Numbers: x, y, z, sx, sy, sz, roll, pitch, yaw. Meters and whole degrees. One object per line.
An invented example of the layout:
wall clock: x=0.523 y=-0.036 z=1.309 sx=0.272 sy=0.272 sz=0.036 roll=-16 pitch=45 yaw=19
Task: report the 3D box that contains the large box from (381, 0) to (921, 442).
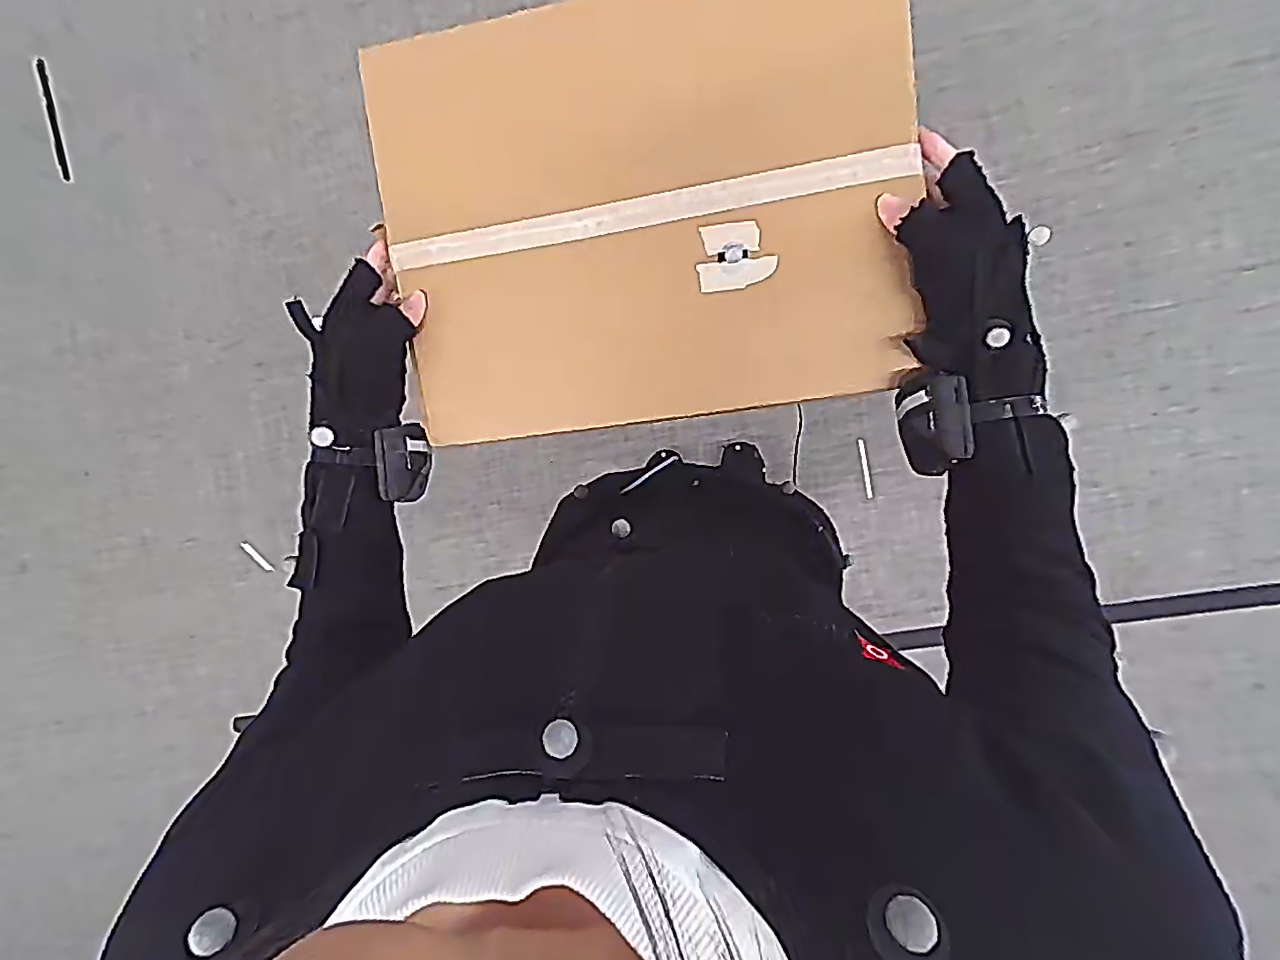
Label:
large box: x=0.019 y=-0.227 z=0.574 sx=0.408 sy=0.320 sz=0.320 roll=-7 pitch=97 yaw=8
